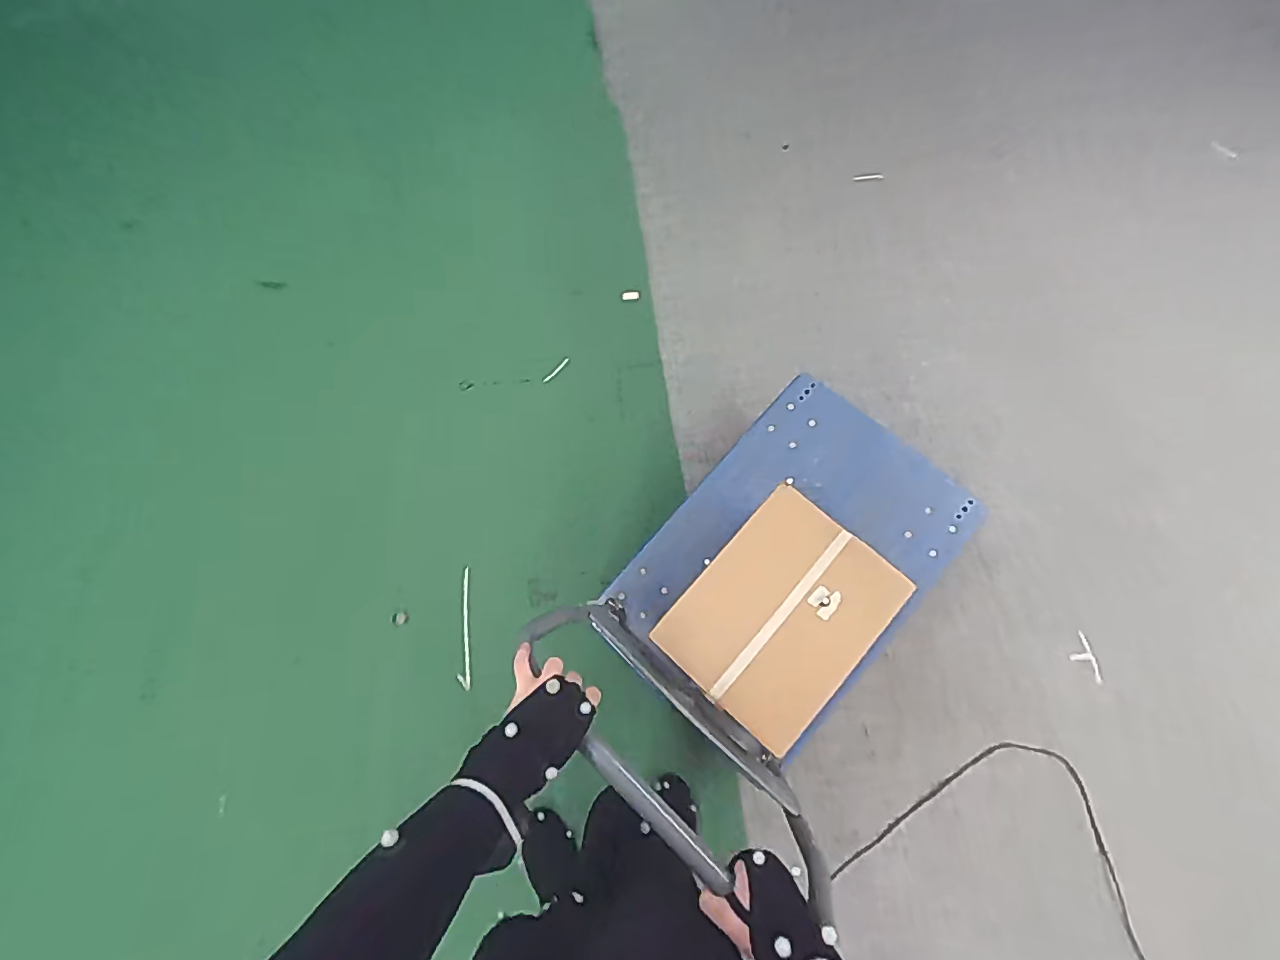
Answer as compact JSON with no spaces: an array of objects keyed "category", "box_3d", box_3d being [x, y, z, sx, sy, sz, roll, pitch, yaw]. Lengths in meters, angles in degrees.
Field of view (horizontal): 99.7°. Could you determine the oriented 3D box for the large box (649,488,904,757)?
[{"category":"large box","box_3d":[0.264,0.296,1.155,0.320,0.320,0.408,41,79,13]}]
